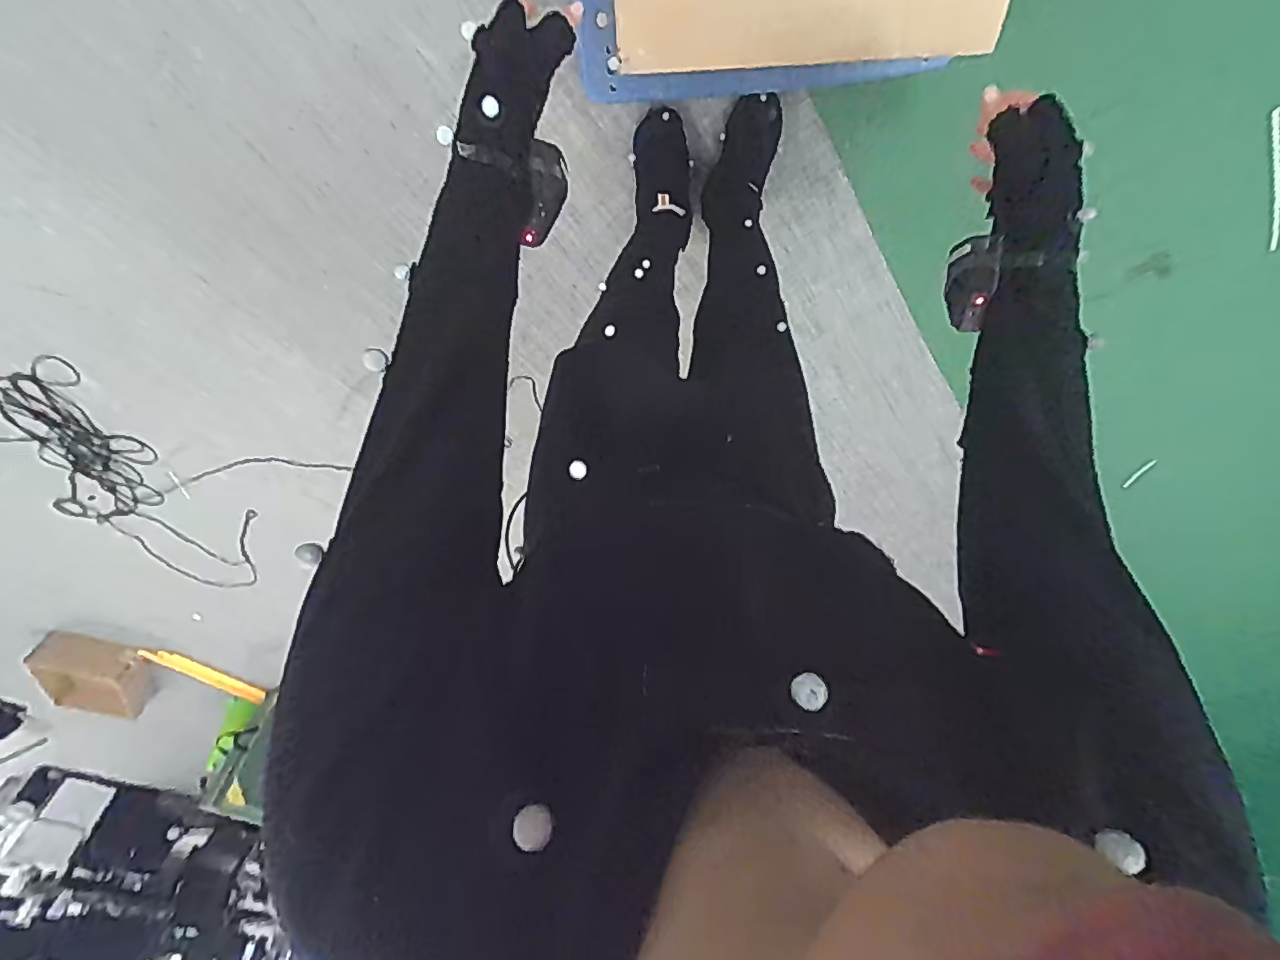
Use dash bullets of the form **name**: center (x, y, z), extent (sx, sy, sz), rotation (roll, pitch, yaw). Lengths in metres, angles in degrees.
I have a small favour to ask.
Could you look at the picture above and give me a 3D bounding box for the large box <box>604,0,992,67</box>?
- **large box**: center (0.166, -0.678, 0.585), extent (0.408, 0.320, 0.320), rotation (1, 135, 5)
